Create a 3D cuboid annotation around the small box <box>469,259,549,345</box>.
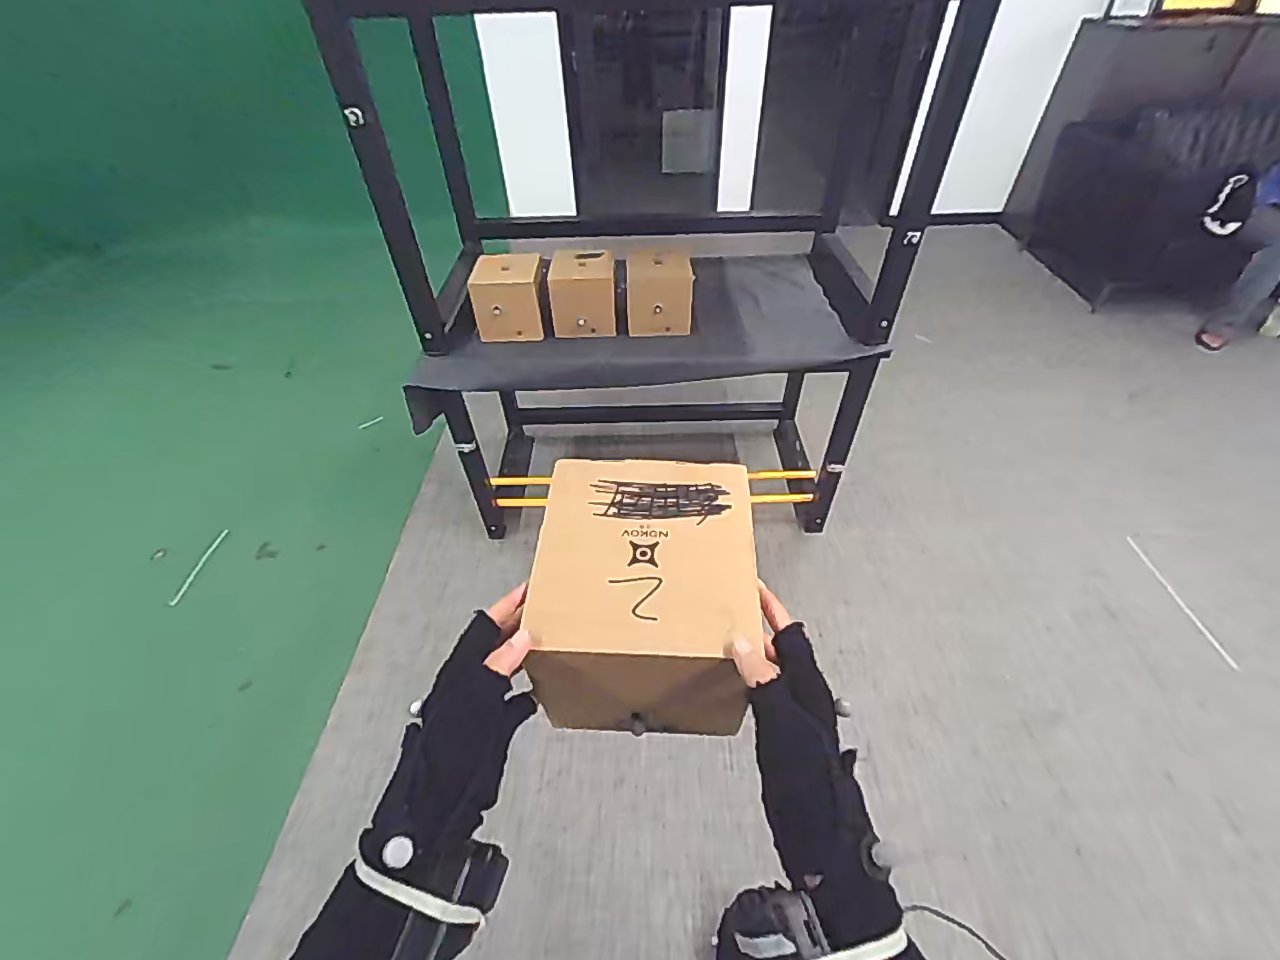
[{"bbox_3d":[-0.340,-0.472,1.445,0.168,0.176,0.179,-2,44,-1],"label":"small box"}]
